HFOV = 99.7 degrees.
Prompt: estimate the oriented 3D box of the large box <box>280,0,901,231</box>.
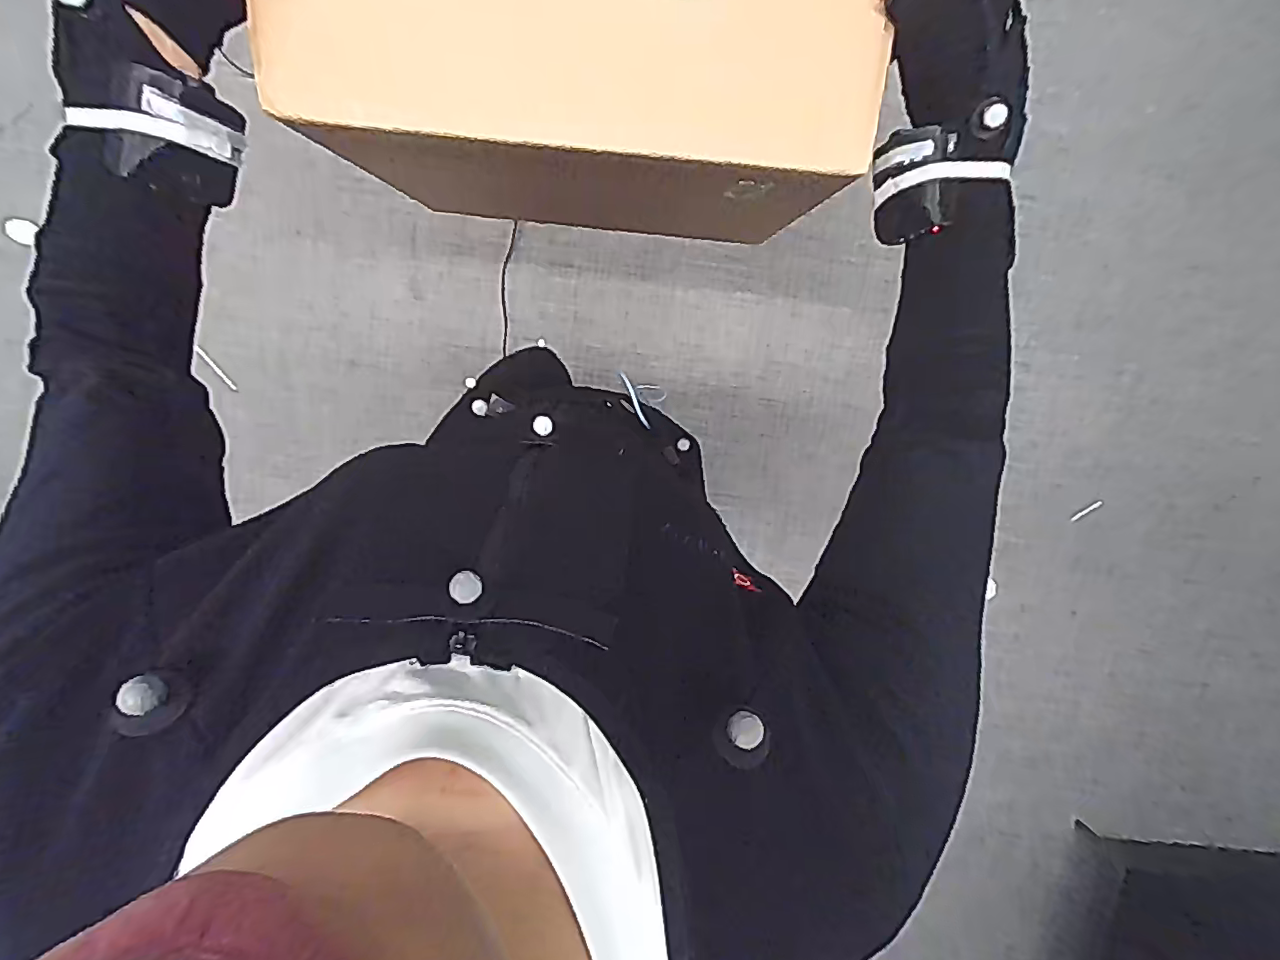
[{"bbox_3d":[-0.029,-0.421,0.470,0.408,0.320,0.320,4,106,-3],"label":"large box"}]
